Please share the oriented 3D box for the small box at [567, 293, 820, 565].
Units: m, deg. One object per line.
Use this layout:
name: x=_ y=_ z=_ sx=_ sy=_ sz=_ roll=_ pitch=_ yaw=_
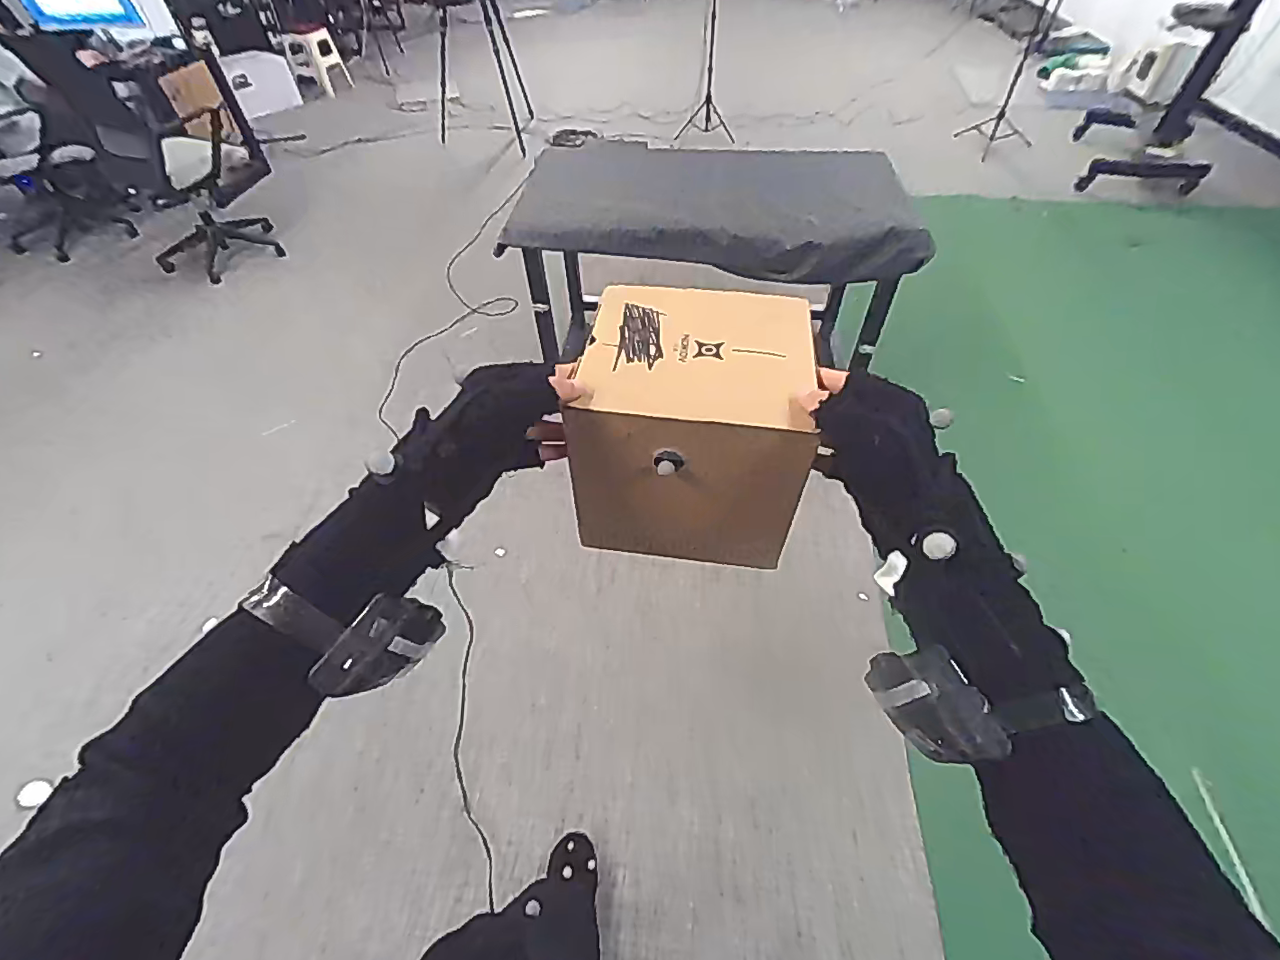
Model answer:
small box: x=0.047 y=-0.042 z=0.476 sx=0.179 sy=0.176 sz=0.168 roll=6 pitch=49 yaw=6
